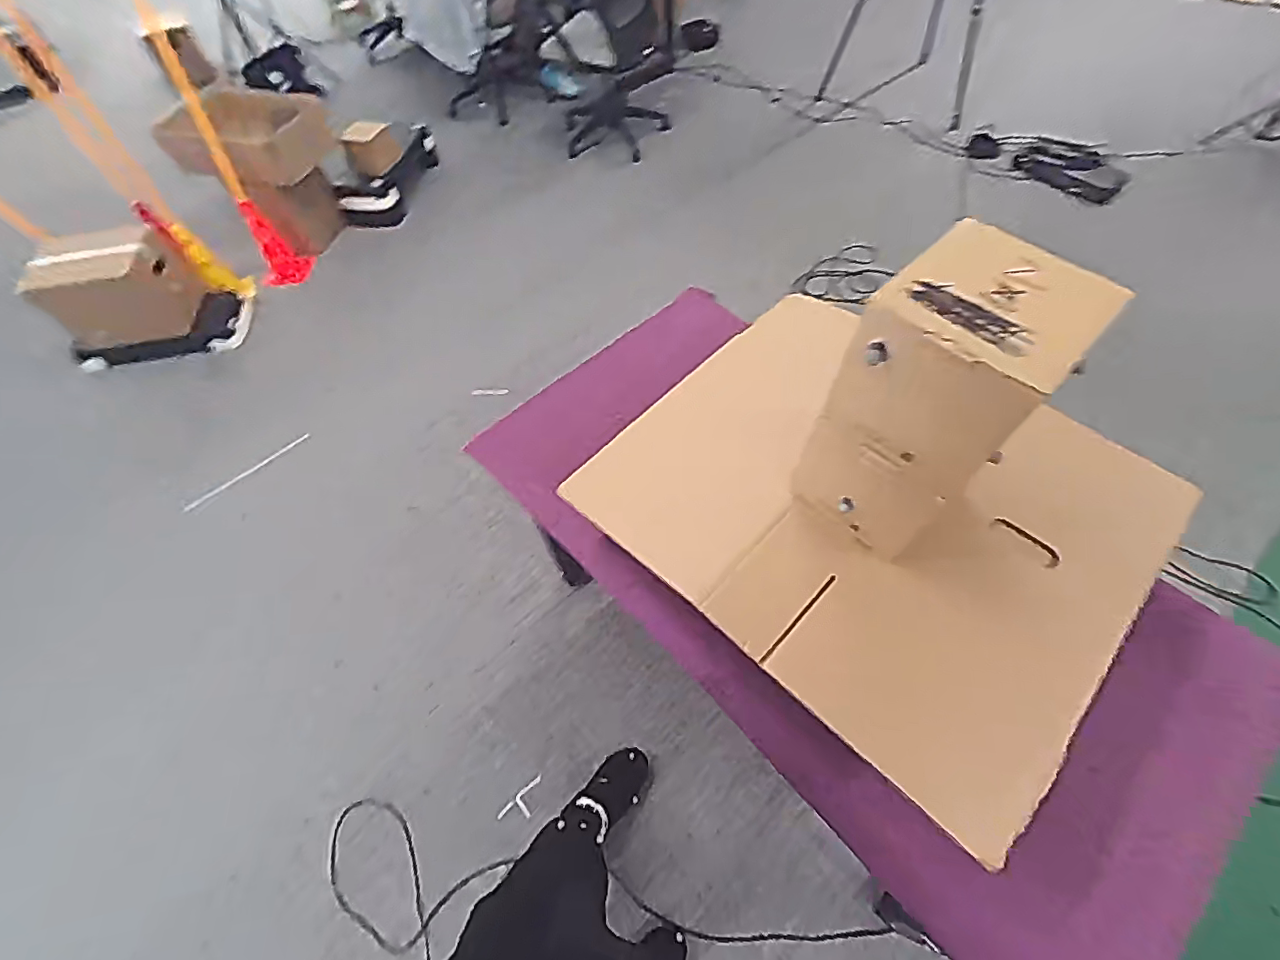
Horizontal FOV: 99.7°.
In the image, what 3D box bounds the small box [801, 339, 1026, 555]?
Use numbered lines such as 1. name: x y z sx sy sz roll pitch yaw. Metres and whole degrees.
1. small box: 0.331 -0.038 0.692 0.179 0.176 0.168 -40 65 -19
